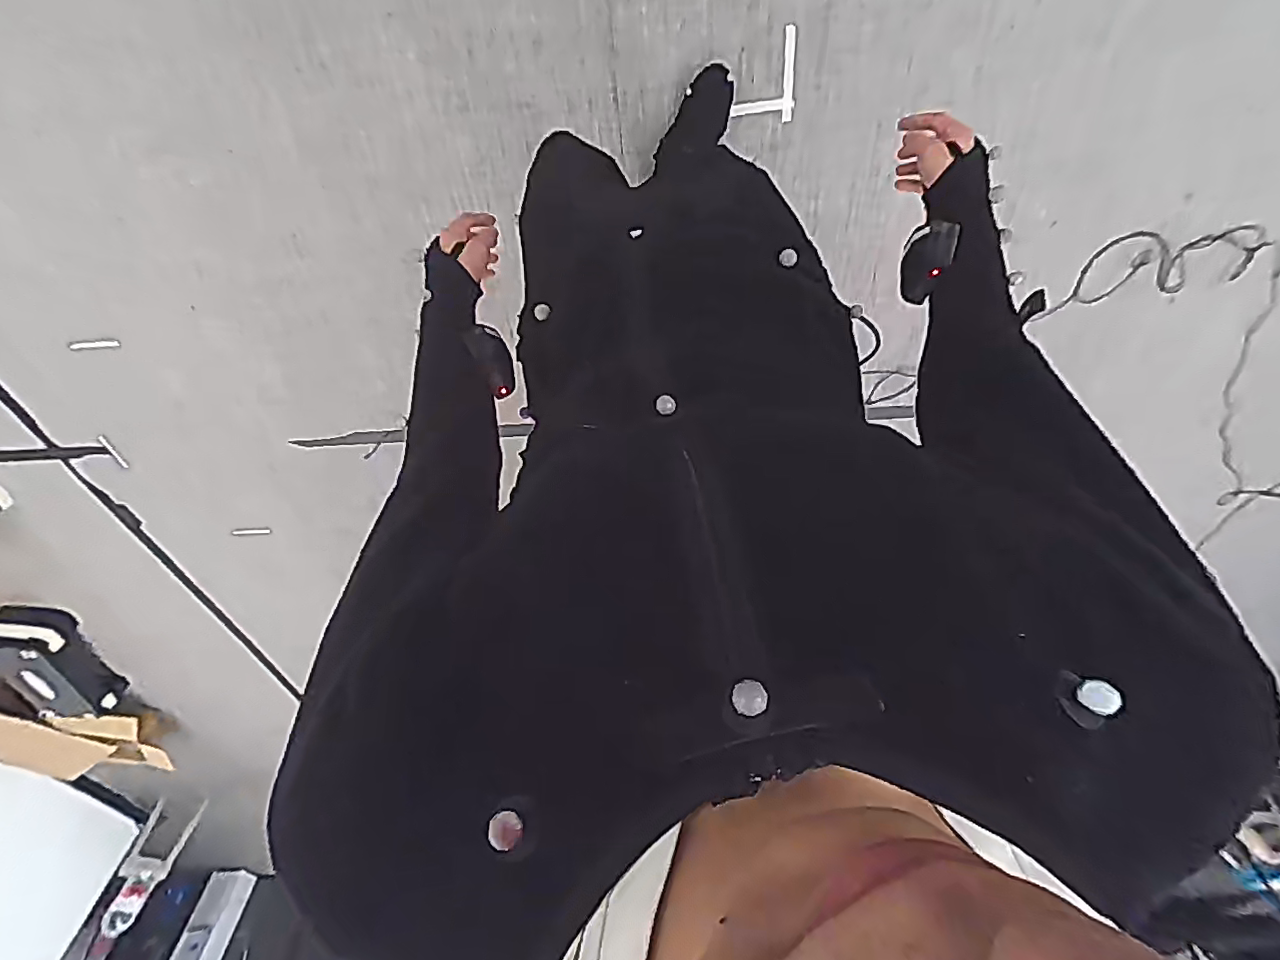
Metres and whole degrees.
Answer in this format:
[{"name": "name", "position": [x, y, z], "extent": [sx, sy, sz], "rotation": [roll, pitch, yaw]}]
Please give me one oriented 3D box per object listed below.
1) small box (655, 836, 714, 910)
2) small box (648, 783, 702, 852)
[{"name": "small box", "position": [0.143, 1.281, 1.763], "extent": [0.179, 0.176, 0.168], "rotation": [-5, 131, 5]}, {"name": "small box", "position": [0.126, 1.182, 1.895], "extent": [0.179, 0.176, 0.168], "rotation": [-5, 132, 5]}]
